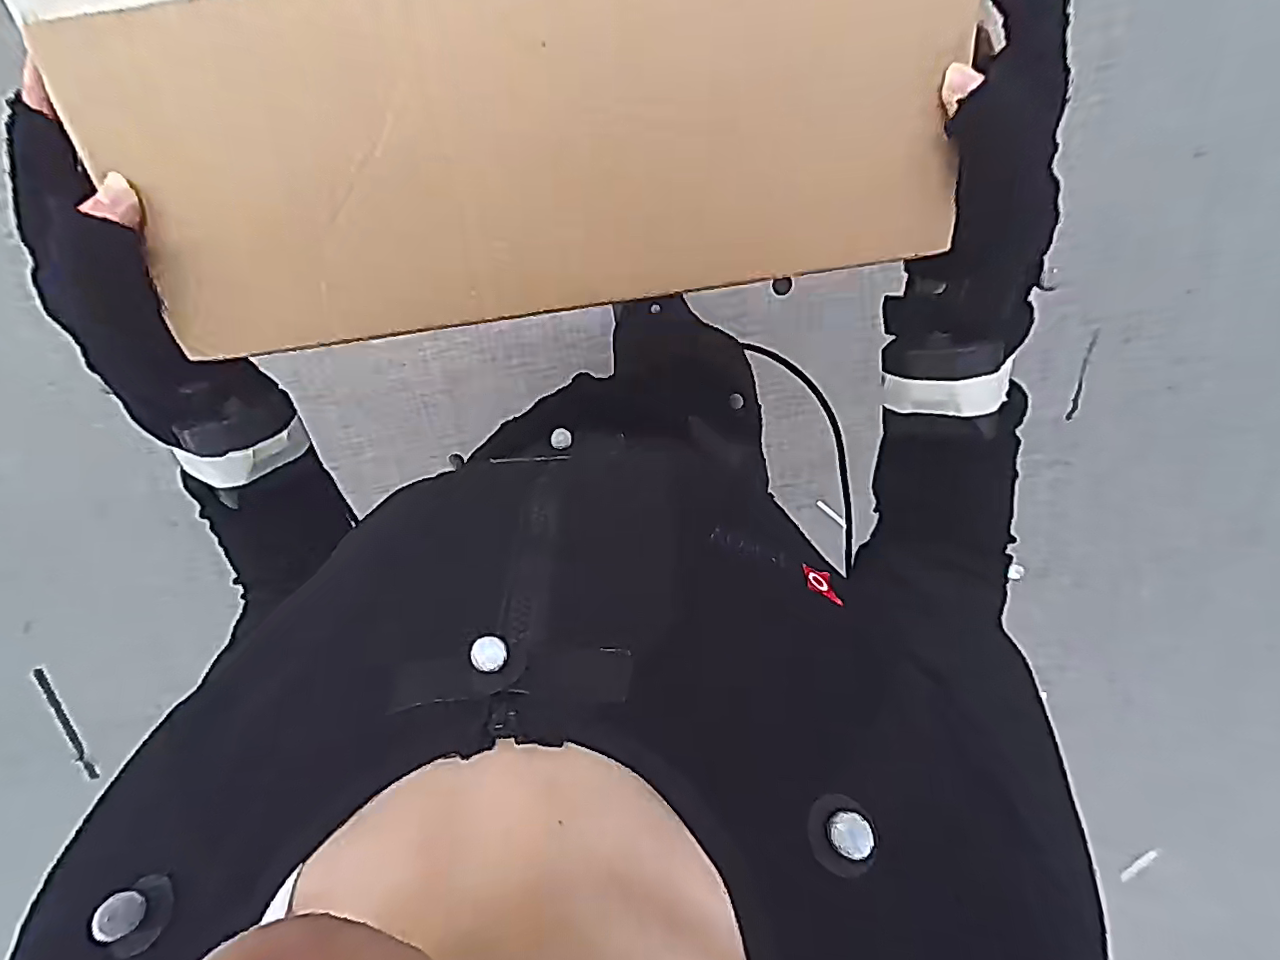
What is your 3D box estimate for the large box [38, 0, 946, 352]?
[{"bbox_3d":[-0.067,-0.301,0.361,0.408,0.320,0.320,-8,115,3],"label":"large box"}]
